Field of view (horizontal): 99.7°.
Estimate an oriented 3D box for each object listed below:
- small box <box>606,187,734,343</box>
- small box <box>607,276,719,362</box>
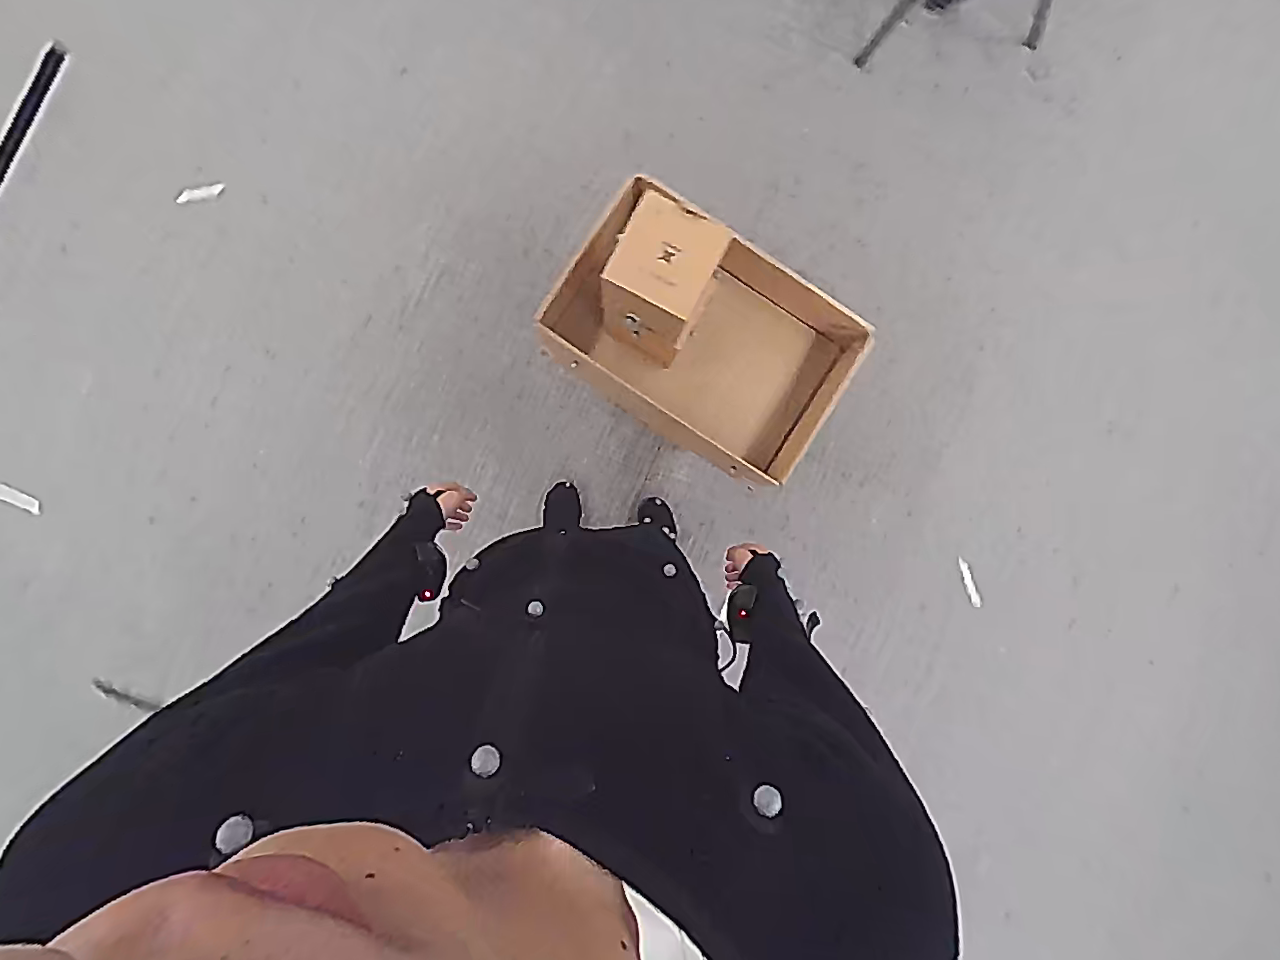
[{"bbox_3d":[0.045,-0.383,0.993,0.168,0.176,0.179,28,87,-3],"label":"small box"},{"bbox_3d":[0.040,-0.375,1.157,0.179,0.176,0.168,30,88,-4],"label":"small box"}]
